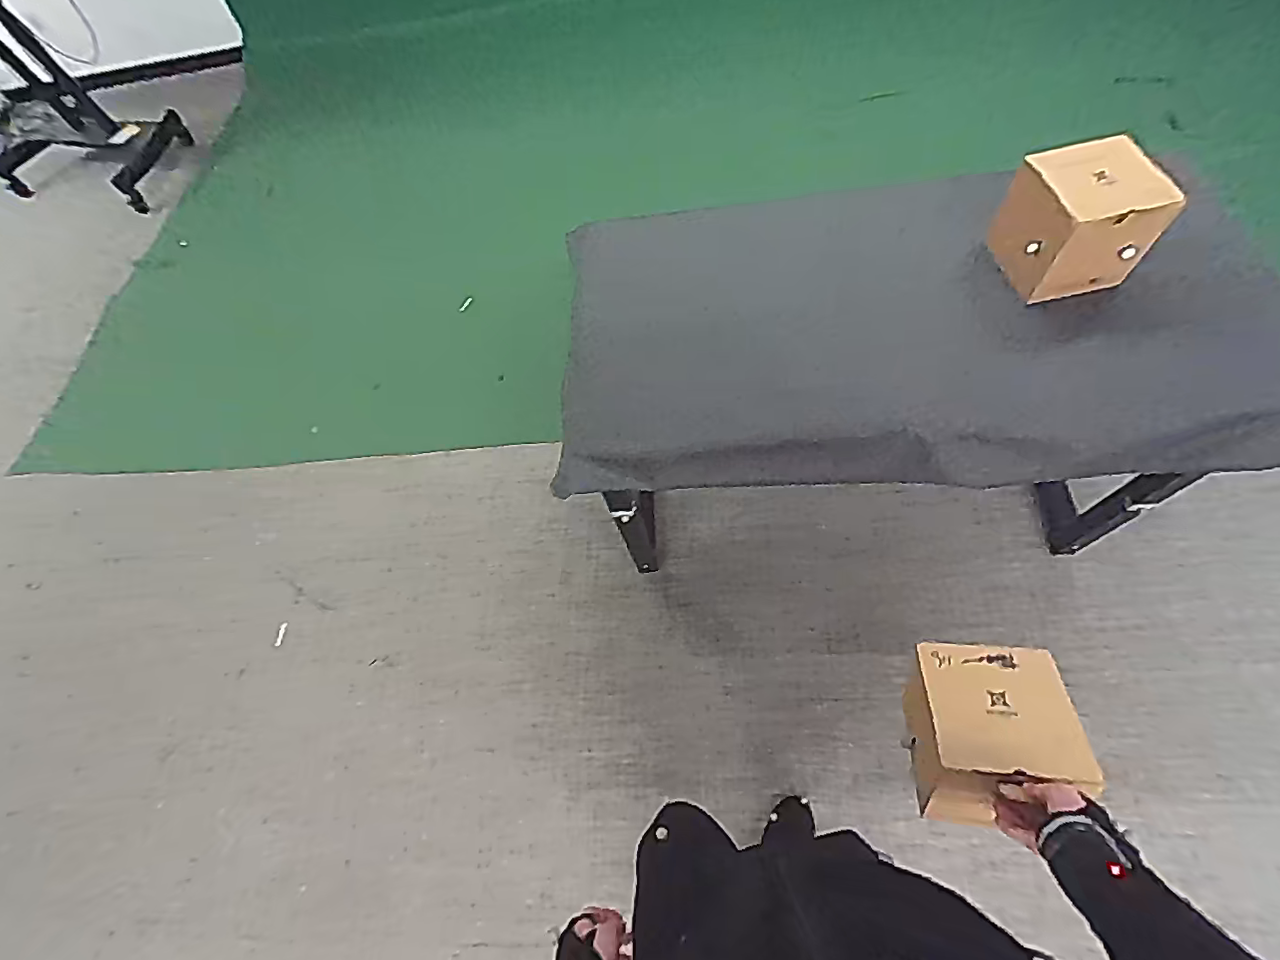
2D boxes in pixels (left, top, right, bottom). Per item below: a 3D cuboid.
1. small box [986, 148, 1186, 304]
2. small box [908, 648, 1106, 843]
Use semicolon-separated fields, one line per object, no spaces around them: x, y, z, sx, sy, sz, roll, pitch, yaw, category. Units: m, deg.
0.742;-0.422;0.925;0.168;0.176;0.179;-10;60;2;small box
0.468;0.353;0.724;0.168;0.176;0.179;1;40;16;small box
